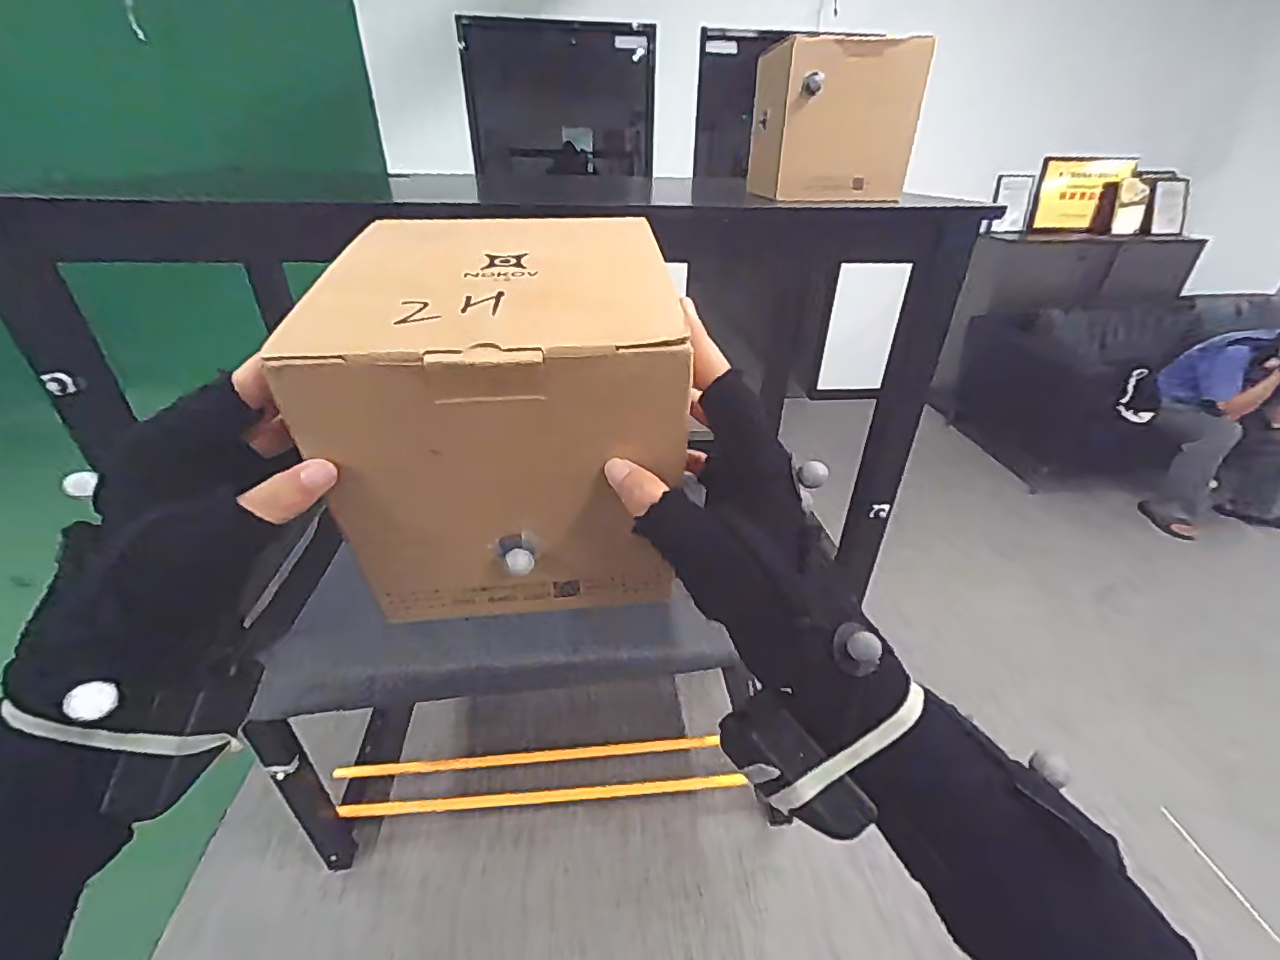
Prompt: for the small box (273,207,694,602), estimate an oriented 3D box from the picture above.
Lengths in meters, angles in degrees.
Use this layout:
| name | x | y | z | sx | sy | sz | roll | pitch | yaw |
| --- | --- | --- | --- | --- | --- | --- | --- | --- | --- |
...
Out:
| name | x | y | z | sx | sy | sz | roll | pitch | yaw |
| --- | --- | --- | --- | --- | --- | --- | --- | --- | --- |
| small box | -0.068 | -0.051 | 0.324 | 0.168 | 0.176 | 0.179 | -4 | 41 | -4 |
